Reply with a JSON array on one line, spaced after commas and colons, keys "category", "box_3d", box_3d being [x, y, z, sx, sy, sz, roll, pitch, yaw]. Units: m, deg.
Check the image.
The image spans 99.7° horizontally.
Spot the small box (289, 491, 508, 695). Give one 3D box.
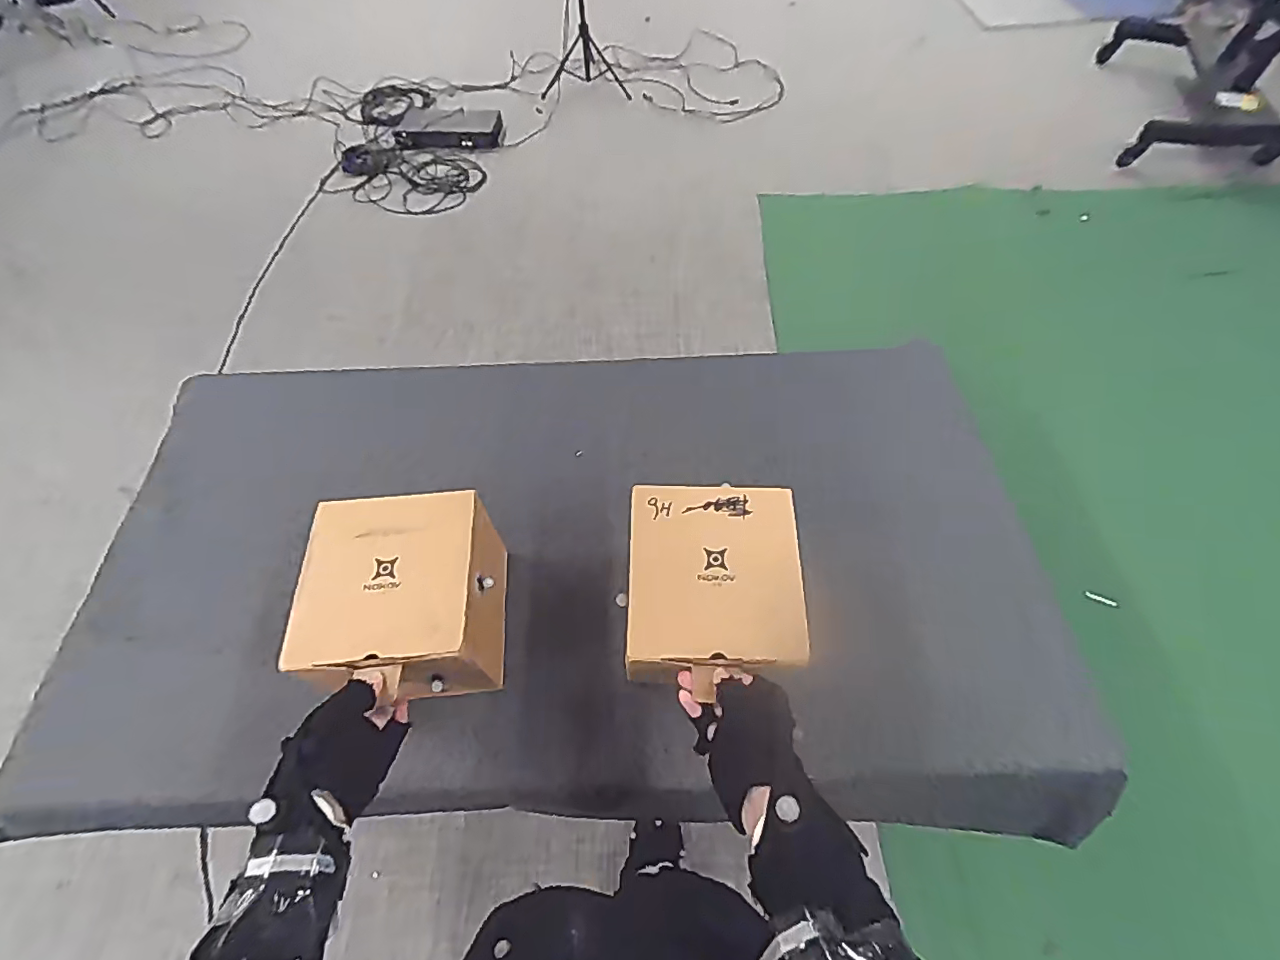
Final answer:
[{"category": "small box", "box_3d": [-0.247, 0.134, 0.605, 0.168, 0.176, 0.179, -5, 57, -4]}]

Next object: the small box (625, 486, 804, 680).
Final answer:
[{"category": "small box", "box_3d": [0.073, 0.121, 0.599, 0.168, 0.176, 0.179, 1, 63, 1]}]
